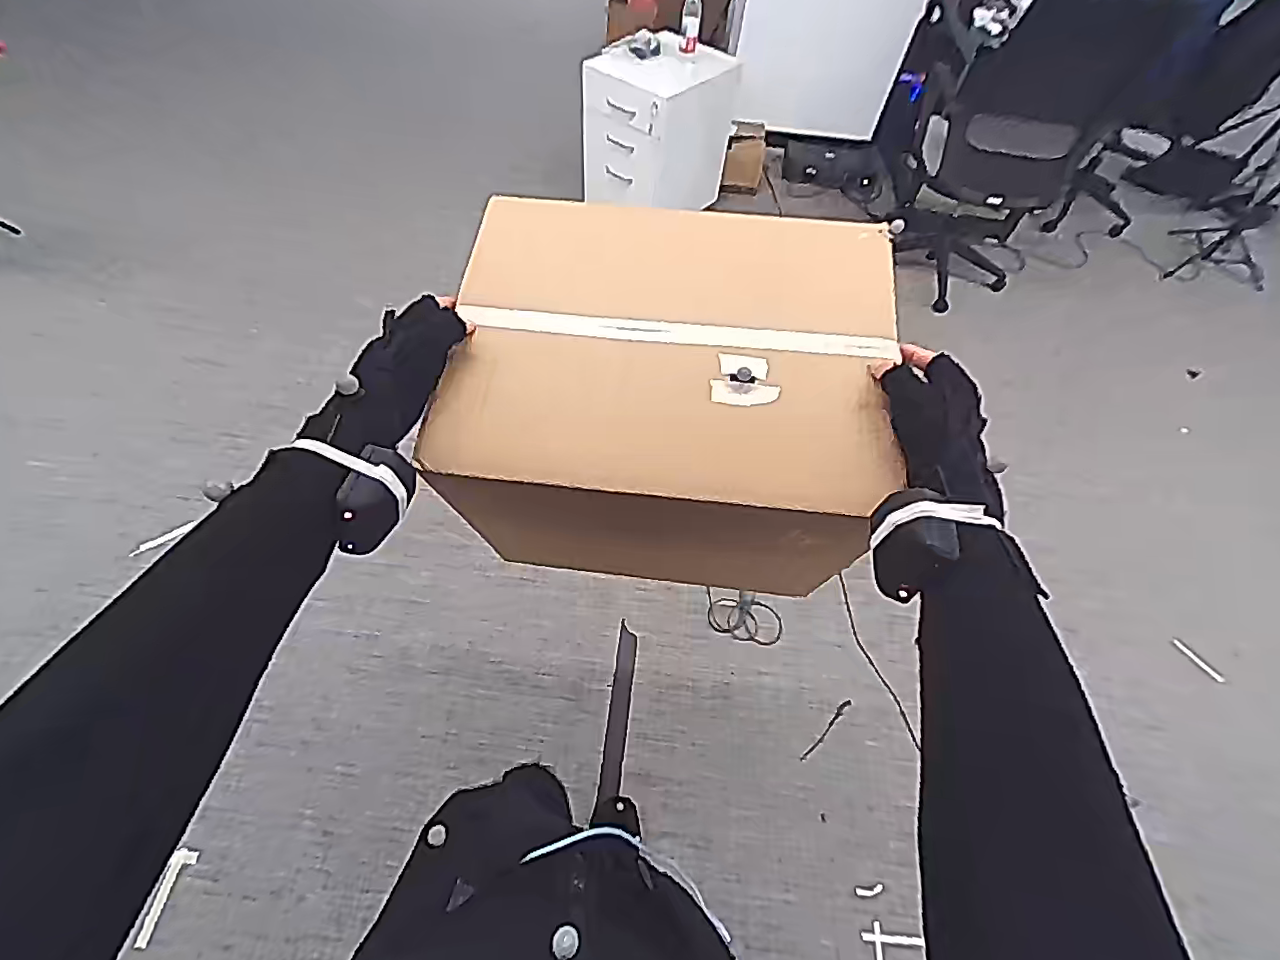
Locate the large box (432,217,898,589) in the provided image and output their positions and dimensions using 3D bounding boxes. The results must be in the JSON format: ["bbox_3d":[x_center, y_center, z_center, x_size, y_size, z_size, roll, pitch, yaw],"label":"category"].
[{"bbox_3d":[0.031,-0.068,0.647,0.408,0.320,0.320,6,68,3],"label":"large box"}]
